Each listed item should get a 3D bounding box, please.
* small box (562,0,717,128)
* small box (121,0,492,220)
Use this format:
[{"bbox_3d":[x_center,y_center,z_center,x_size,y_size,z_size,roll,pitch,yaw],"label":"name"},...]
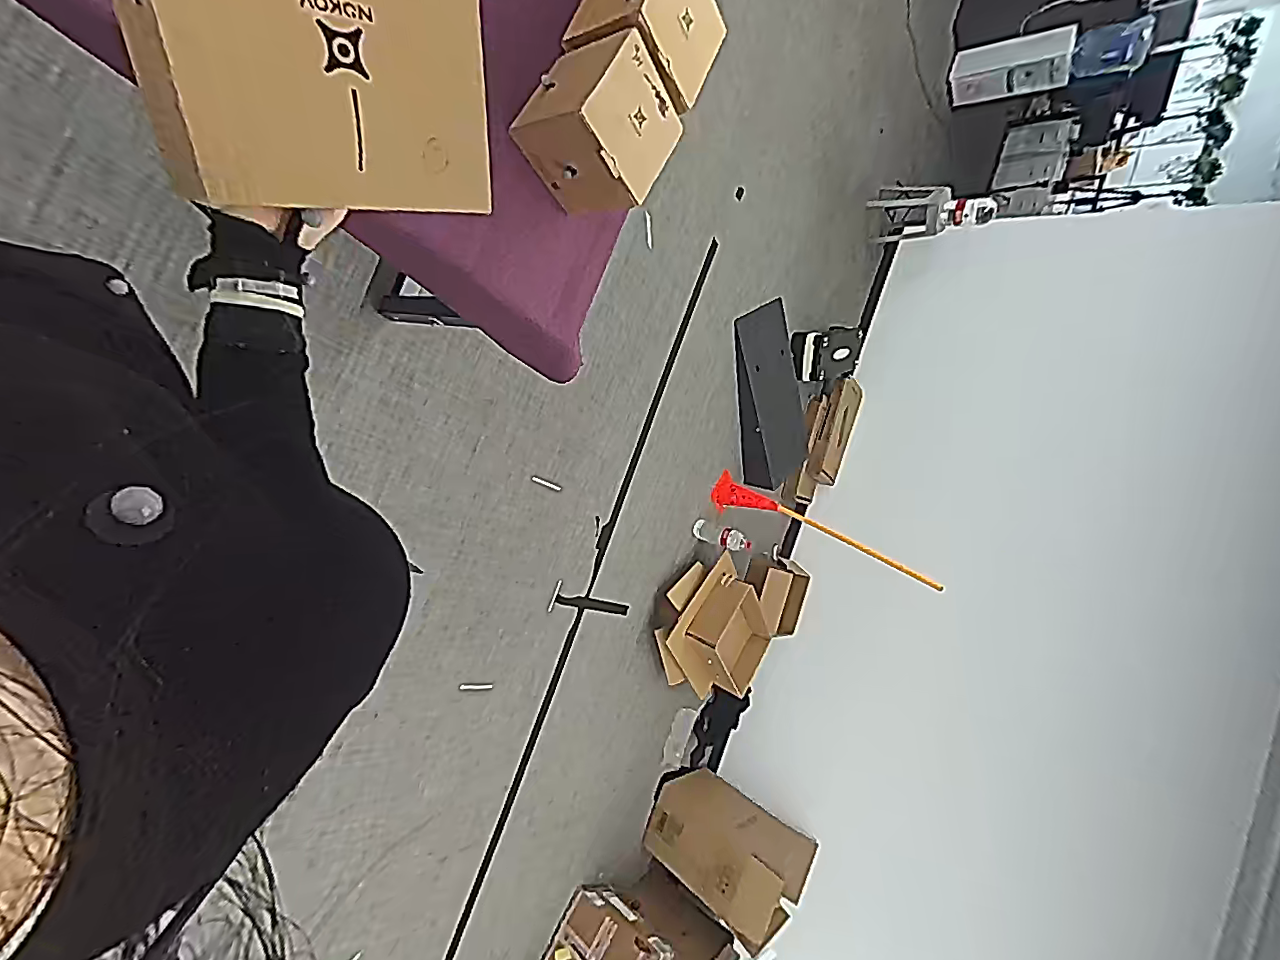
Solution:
[{"bbox_3d":[-0.001,-0.732,0.898,0.168,0.176,0.179,34,75,-52],"label":"small box"},{"bbox_3d":[-0.217,-0.274,0.354,0.168,0.176,0.179,-20,126,-38],"label":"small box"}]
